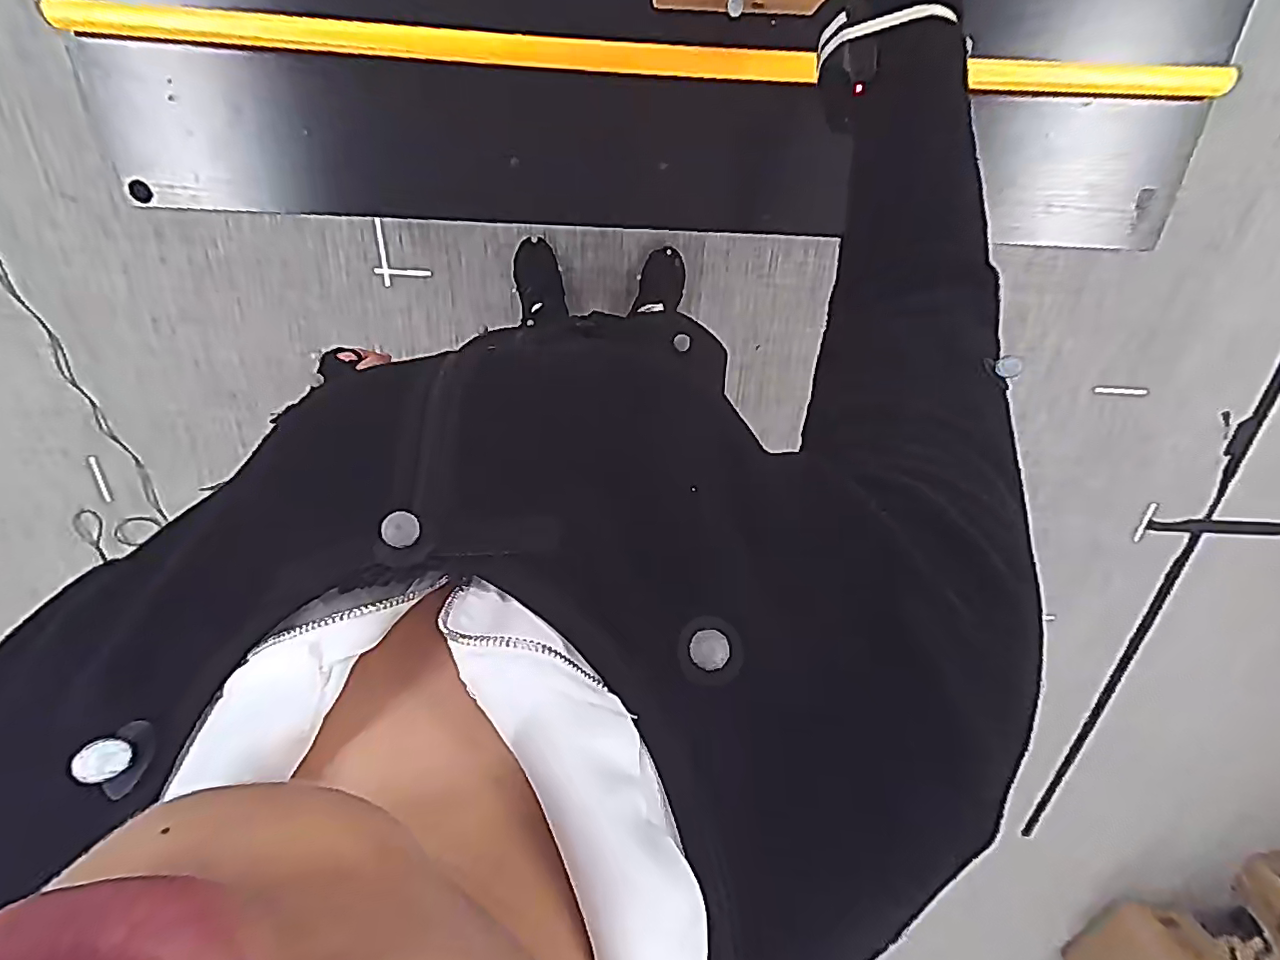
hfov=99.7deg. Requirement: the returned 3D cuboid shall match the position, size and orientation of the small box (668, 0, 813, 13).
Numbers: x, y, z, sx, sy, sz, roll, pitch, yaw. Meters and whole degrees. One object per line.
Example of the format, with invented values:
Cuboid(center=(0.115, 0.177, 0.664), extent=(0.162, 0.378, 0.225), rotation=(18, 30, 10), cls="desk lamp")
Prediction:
Cuboid(center=(0.102, -0.531, 0.448), extent=(0.168, 0.176, 0.179), rotation=(1, 116, -2), cls="small box")
